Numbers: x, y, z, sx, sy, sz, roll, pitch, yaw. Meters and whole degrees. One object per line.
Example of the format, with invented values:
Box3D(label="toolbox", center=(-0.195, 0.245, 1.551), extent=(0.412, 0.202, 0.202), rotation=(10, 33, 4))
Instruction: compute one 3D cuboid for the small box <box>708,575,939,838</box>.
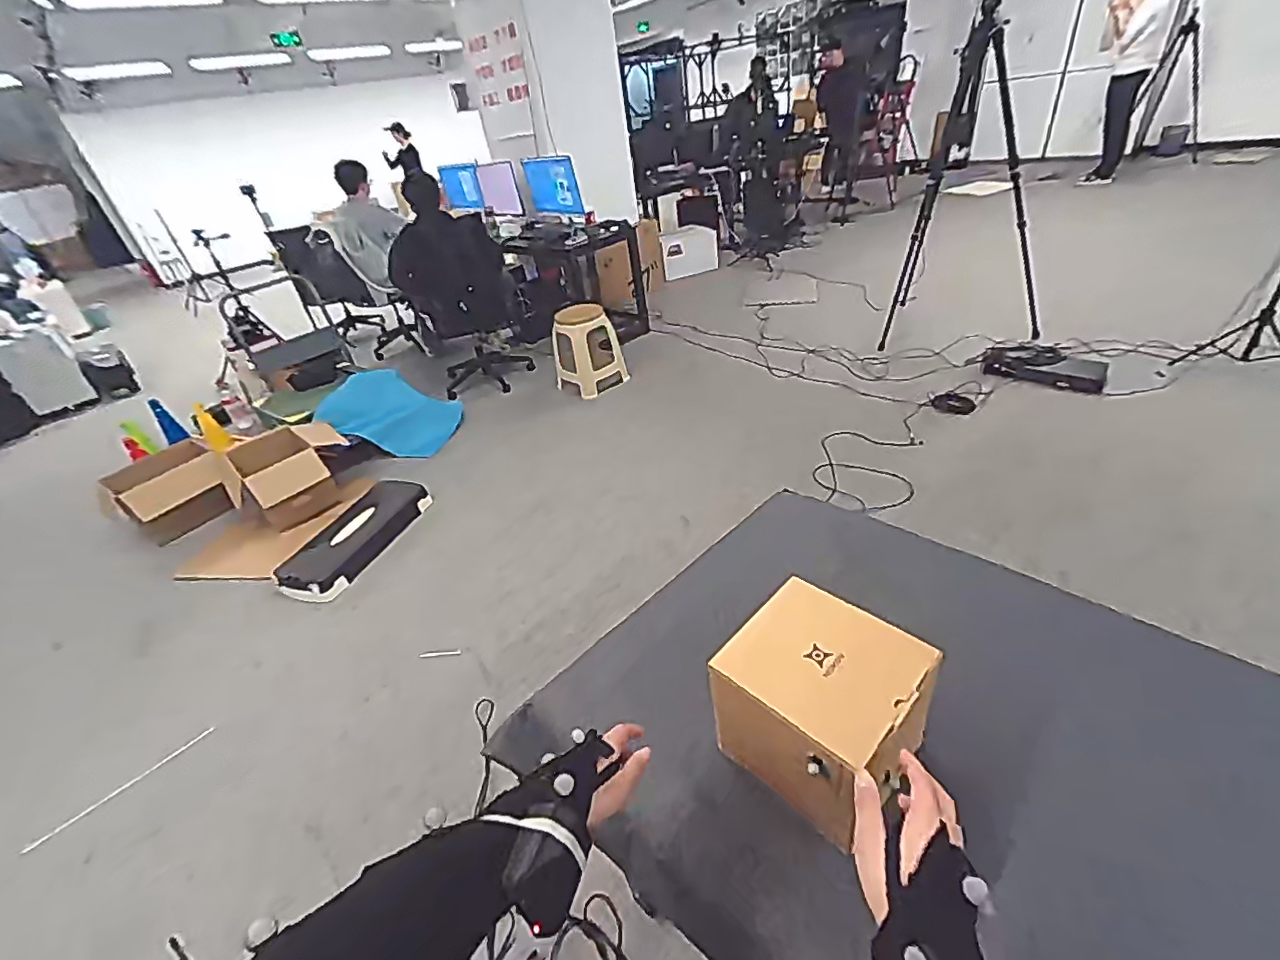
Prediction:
Box3D(label="small box", center=(0.197, 0.245, 0.603), extent=(0.168, 0.176, 0.179), rotation=(-34, 41, -31))
